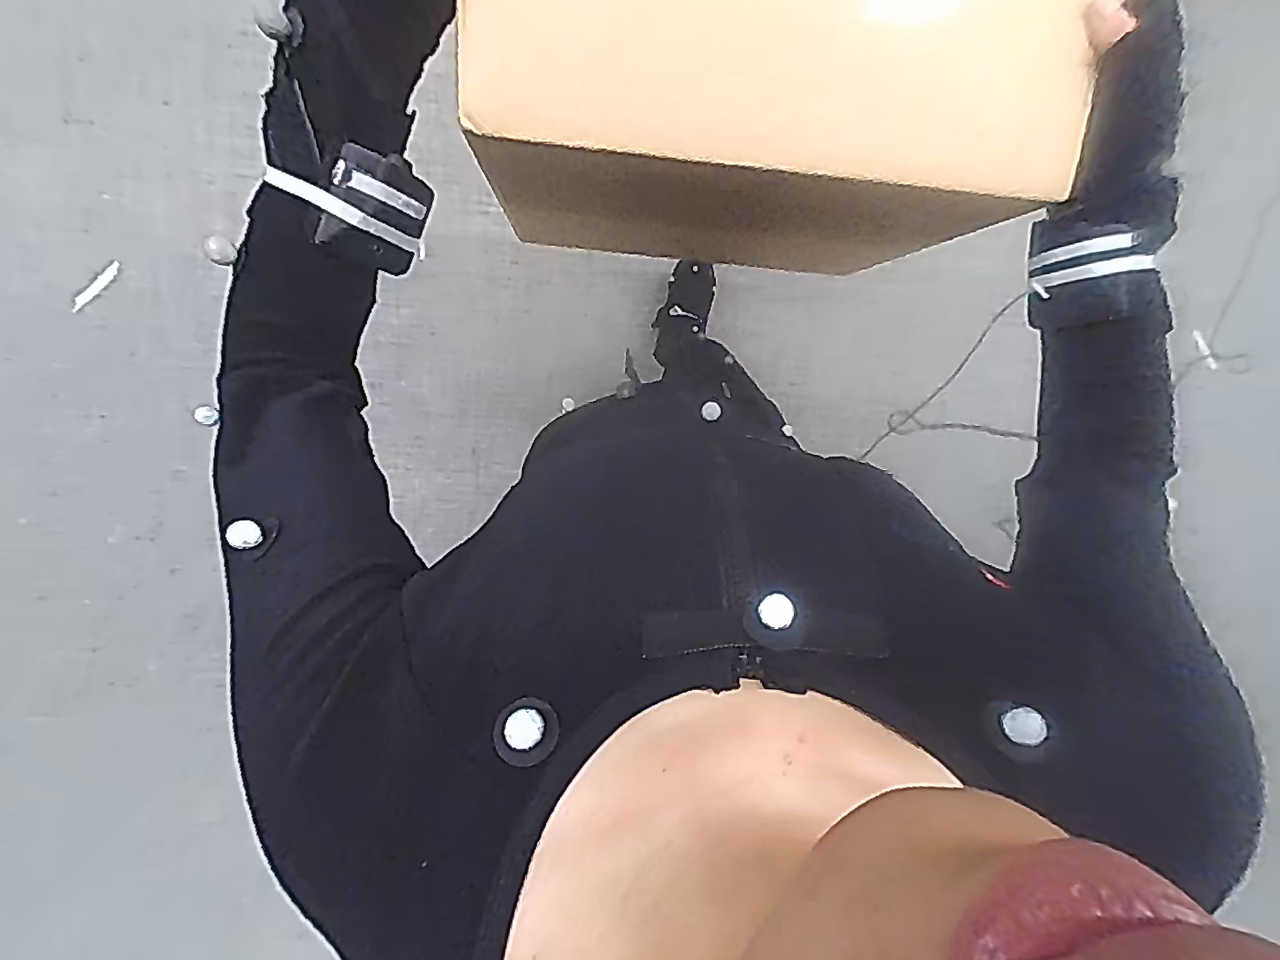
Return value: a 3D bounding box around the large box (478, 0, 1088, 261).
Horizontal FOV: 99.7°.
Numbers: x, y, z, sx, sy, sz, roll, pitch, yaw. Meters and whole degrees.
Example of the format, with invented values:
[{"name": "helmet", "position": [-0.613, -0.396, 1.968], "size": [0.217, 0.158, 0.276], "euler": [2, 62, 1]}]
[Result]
[{"name": "large box", "position": [0.085, -0.394, 0.475], "size": [0.408, 0.320, 0.320], "euler": [2, 102, -7]}]
